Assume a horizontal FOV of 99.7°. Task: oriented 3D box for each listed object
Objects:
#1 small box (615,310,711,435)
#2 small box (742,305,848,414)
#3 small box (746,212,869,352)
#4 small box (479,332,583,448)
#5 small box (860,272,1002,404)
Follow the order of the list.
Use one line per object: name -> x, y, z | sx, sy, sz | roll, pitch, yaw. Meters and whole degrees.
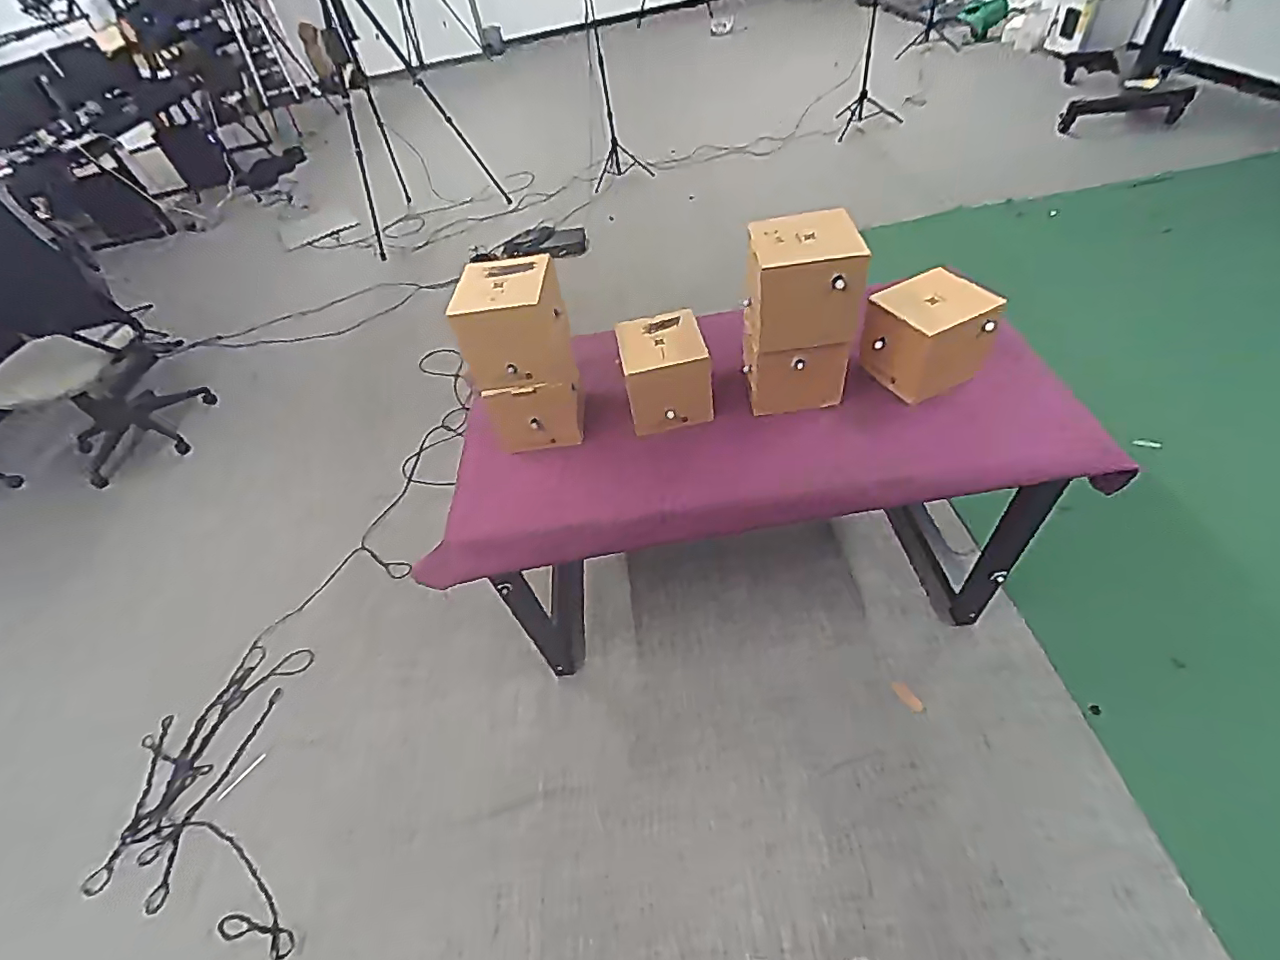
small box -> 0.047, -0.220, 1.118 | 0.168, 0.176, 0.179 | -12, 48, 1
small box -> 0.304, -0.249, 1.097 | 0.179, 0.176, 0.168 | -5, 49, 6
small box -> 0.287, -0.350, 0.969 | 0.179, 0.176, 0.168 | -5, 48, 6
small box -> -0.218, -0.181, 1.135 | 0.168, 0.176, 0.179 | -7, 49, 4
small box -> 0.560, -0.278, 1.073 | 0.179, 0.176, 0.168 | -24, 48, -10
